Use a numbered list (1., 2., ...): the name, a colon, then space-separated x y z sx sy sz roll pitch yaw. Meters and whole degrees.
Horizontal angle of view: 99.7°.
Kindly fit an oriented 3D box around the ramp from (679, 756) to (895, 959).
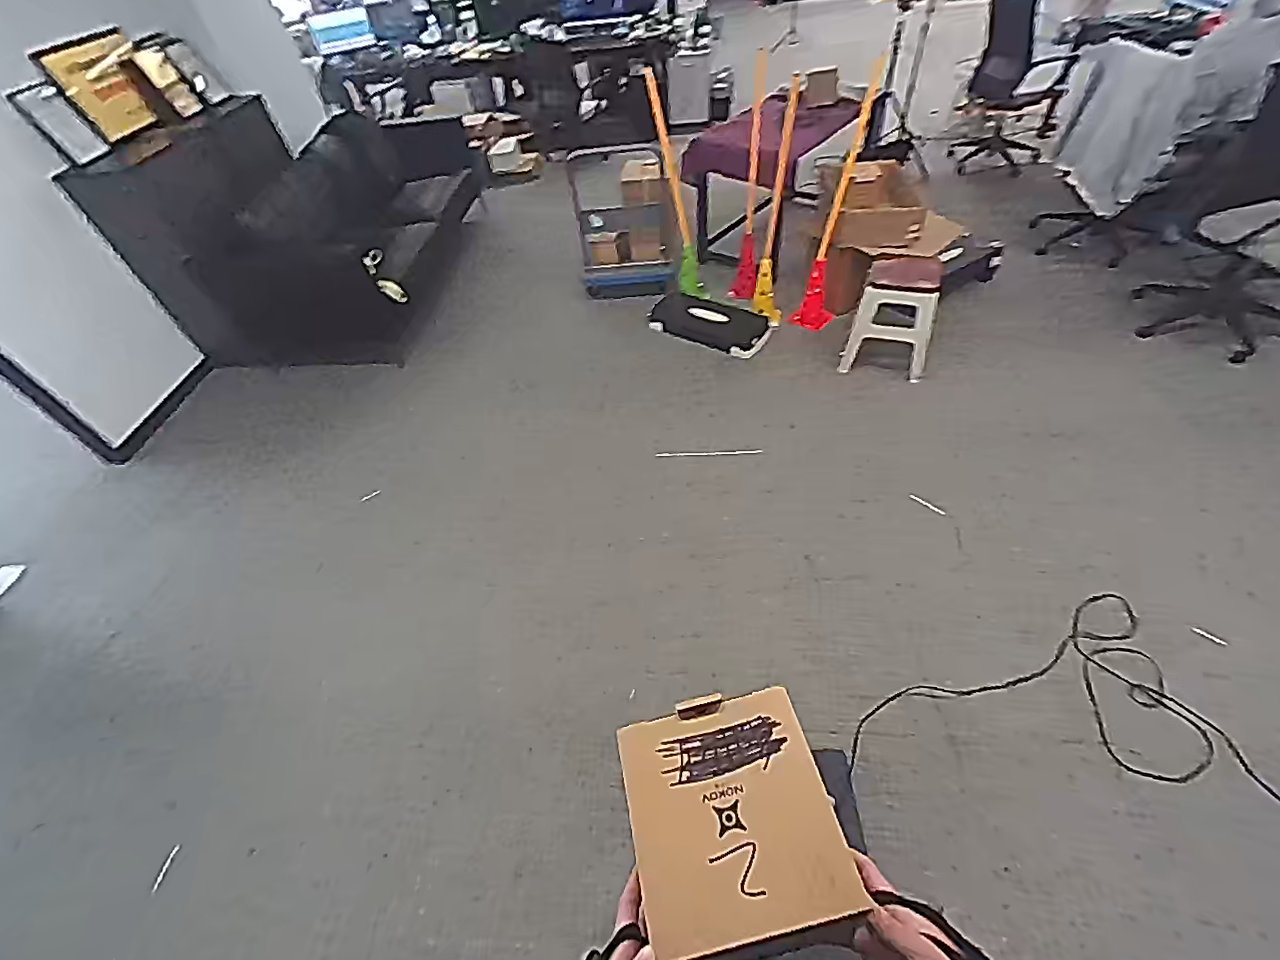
1. ramp: 0.331 1.128 1.211 0.509 0.206 0.991 -4 47 6
